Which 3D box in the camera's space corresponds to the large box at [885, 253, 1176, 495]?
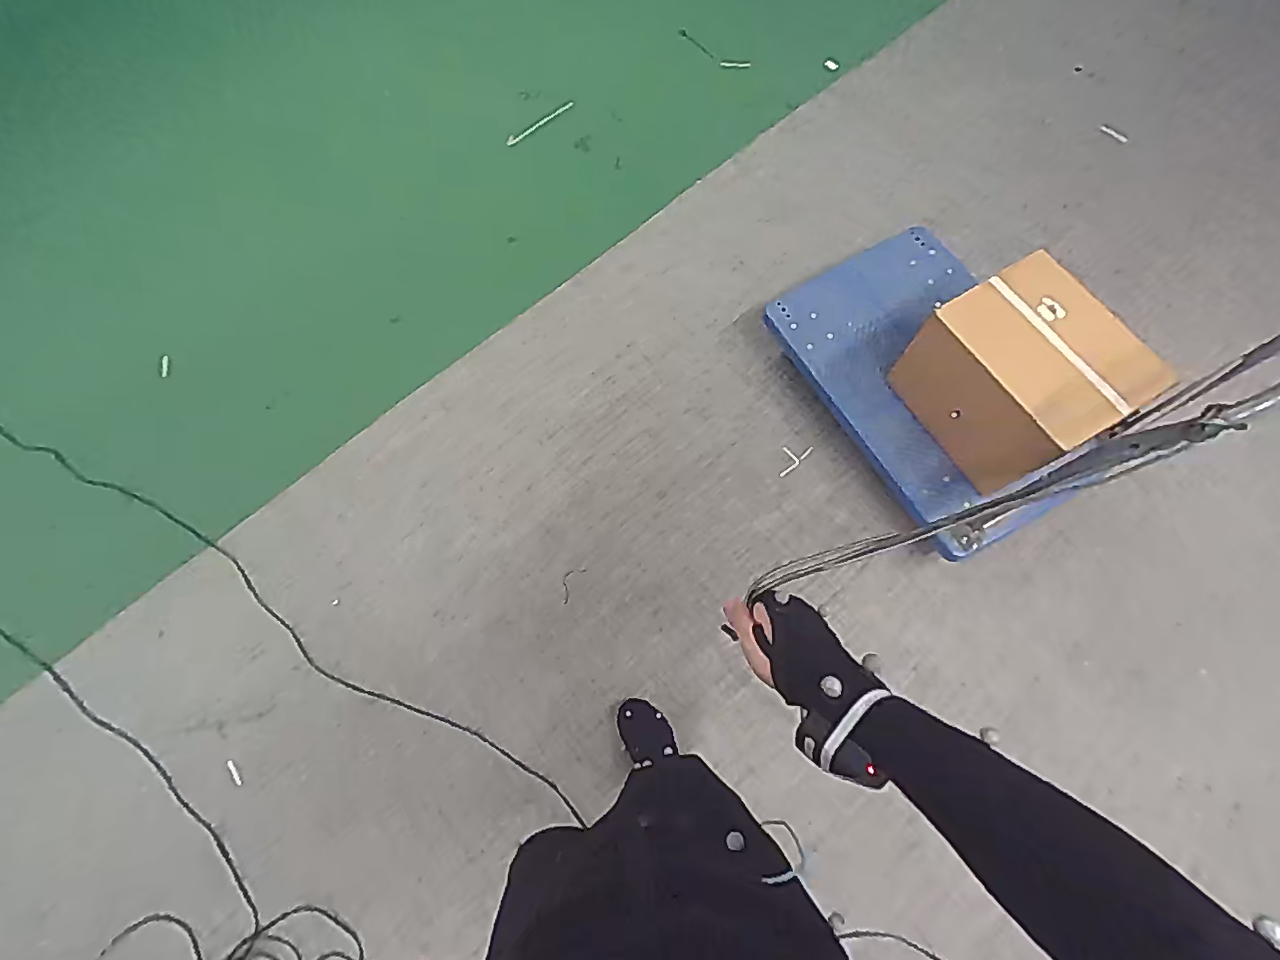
[{"bbox_3d":[0.881,-0.238,1.291,0.320,0.320,0.408,-30,71,-7],"label":"large box"}]
